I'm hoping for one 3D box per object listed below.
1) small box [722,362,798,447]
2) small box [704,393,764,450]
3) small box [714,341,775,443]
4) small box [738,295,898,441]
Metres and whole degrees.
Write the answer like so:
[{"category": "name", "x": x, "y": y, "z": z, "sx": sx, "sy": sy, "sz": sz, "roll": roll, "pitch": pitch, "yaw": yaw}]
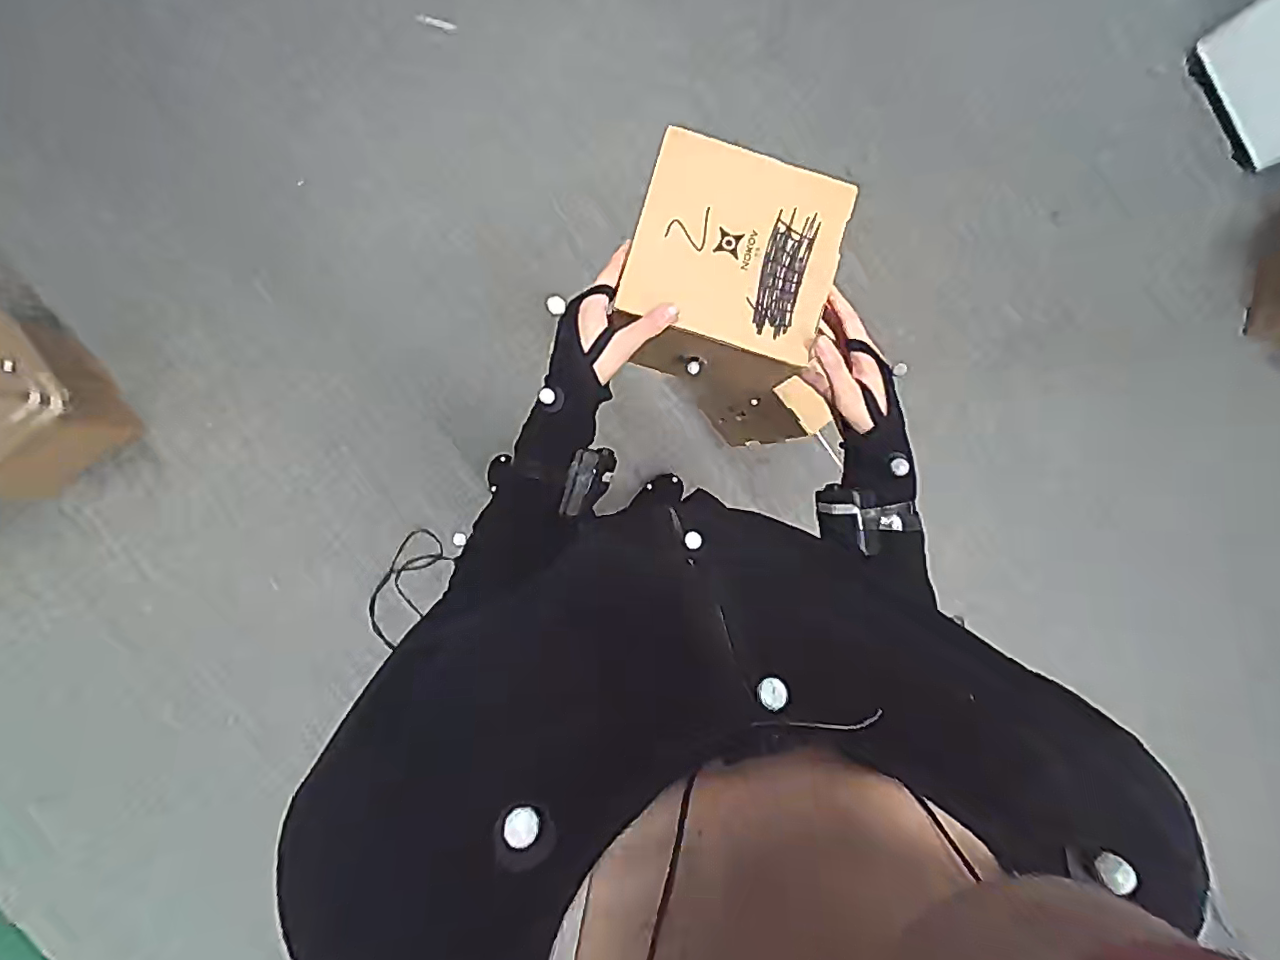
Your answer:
[{"category": "small box", "x": 0.294, "y": -0.184, "z": 1.106, "sx": 0.168, "sy": 0.176, "sz": 0.179, "roll": -38, "pitch": 93, "yaw": -2}, {"category": "small box", "x": 0.291, "y": -0.193, "z": 1.433, "sx": 0.168, "sy": 0.176, "sz": 0.179, "roll": -36, "pitch": 93, "yaw": -2}, {"category": "small box", "x": 0.294, "y": -0.199, "z": 1.270, "sx": 0.168, "sy": 0.176, "sz": 0.179, "roll": -36, "pitch": 93, "yaw": 0}, {"category": "small box", "x": 0.296, "y": -0.184, "z": 0.943, "sx": 0.179, "sy": 0.176, "sz": 0.168, "roll": -38, "pitch": 92, "yaw": 0}]
